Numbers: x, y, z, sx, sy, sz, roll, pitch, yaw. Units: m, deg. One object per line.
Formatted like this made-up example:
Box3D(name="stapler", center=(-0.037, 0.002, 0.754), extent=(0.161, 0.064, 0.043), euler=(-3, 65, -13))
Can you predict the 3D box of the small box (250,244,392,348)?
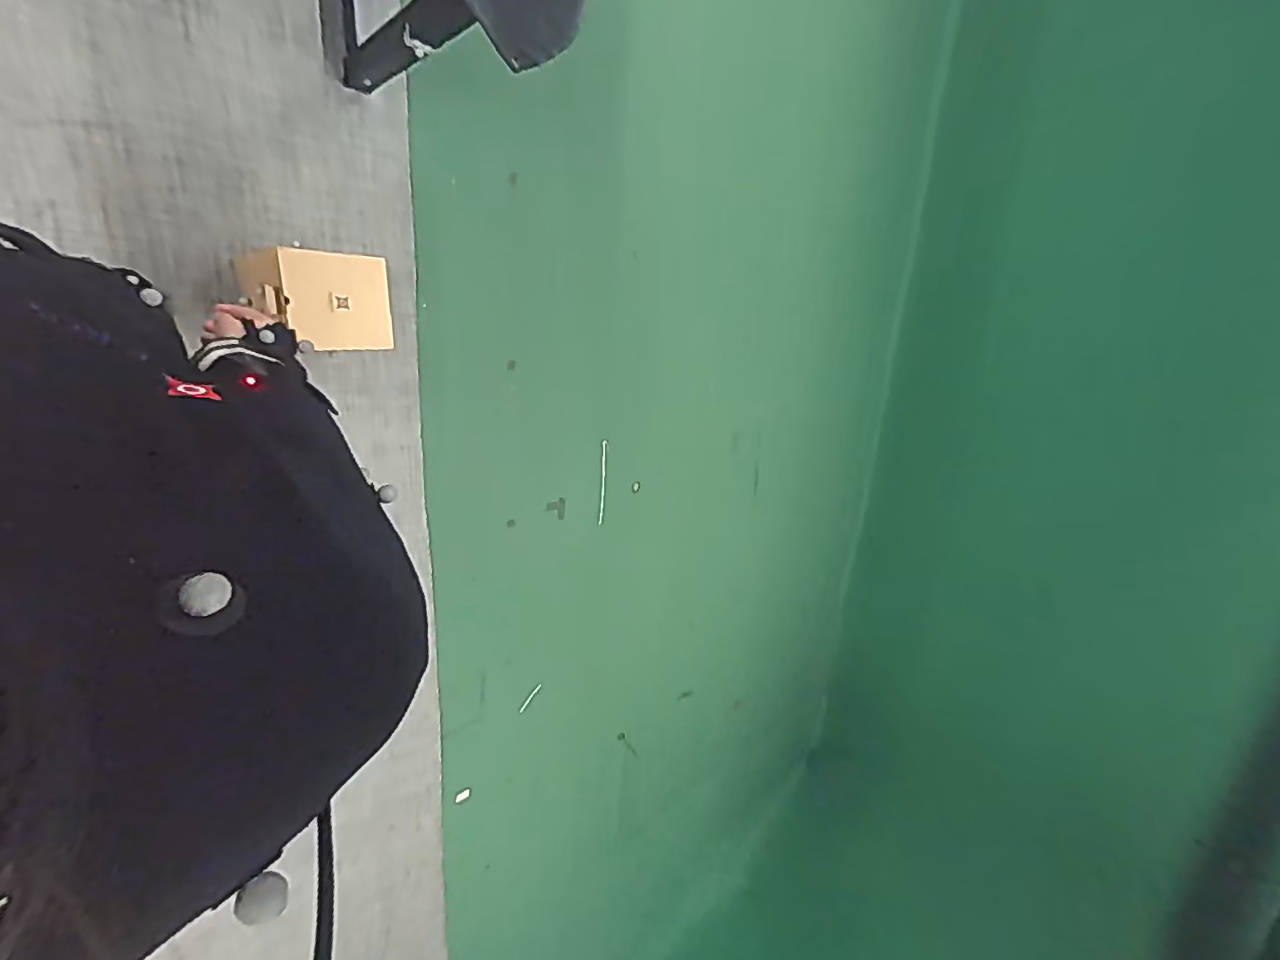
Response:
Box3D(name="small box", center=(-0.584, -0.336, 0.995), extent=(0.179, 0.176, 0.168), euler=(-15, 115, -43))
